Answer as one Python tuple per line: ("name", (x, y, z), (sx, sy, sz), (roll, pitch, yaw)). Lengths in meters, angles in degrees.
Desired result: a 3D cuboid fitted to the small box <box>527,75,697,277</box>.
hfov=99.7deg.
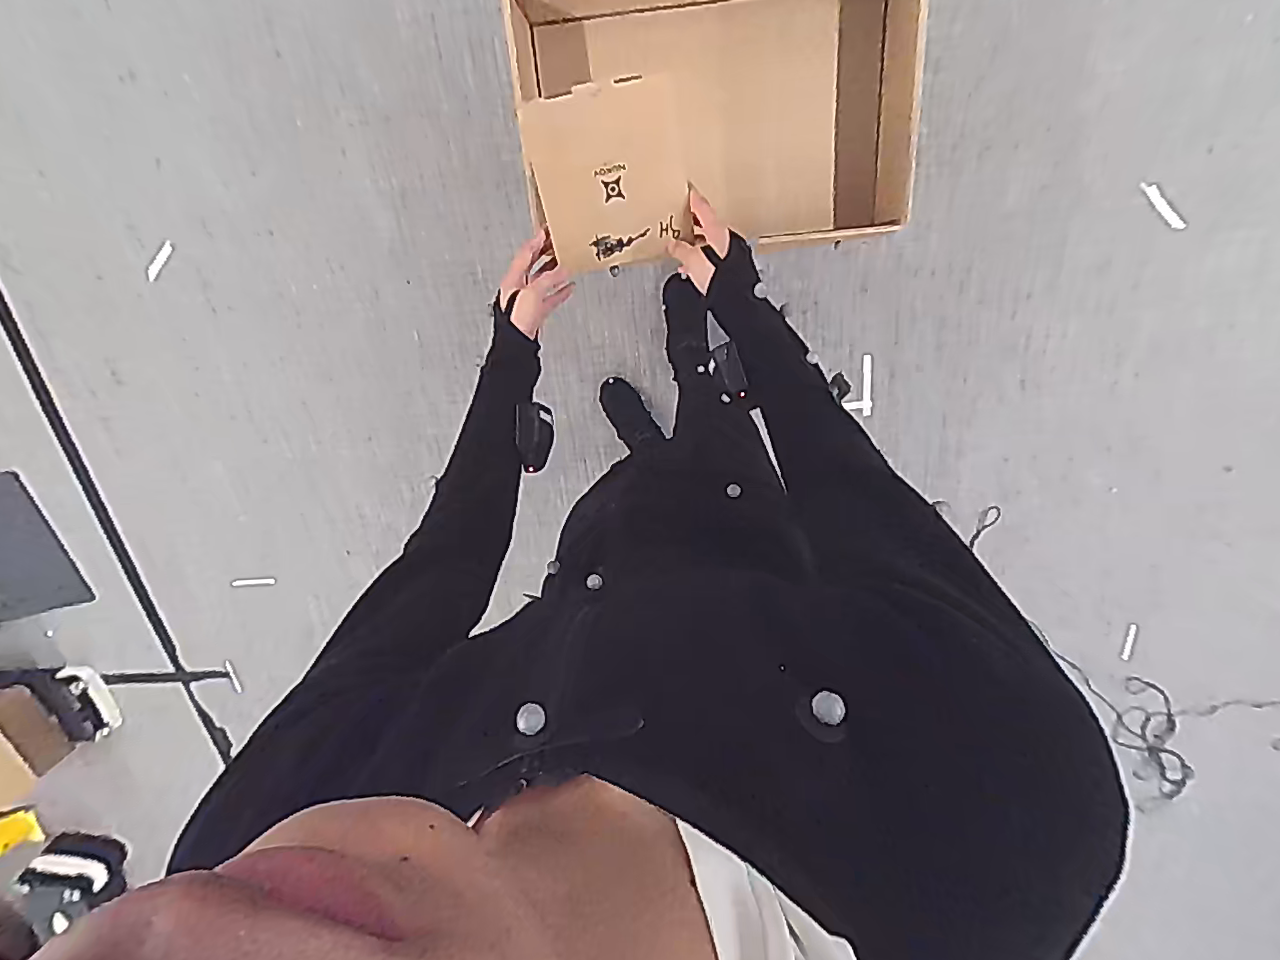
("small box", (-0.035, -0.365, 0.668), (0.168, 0.176, 0.179), (-12, 118, 0))
